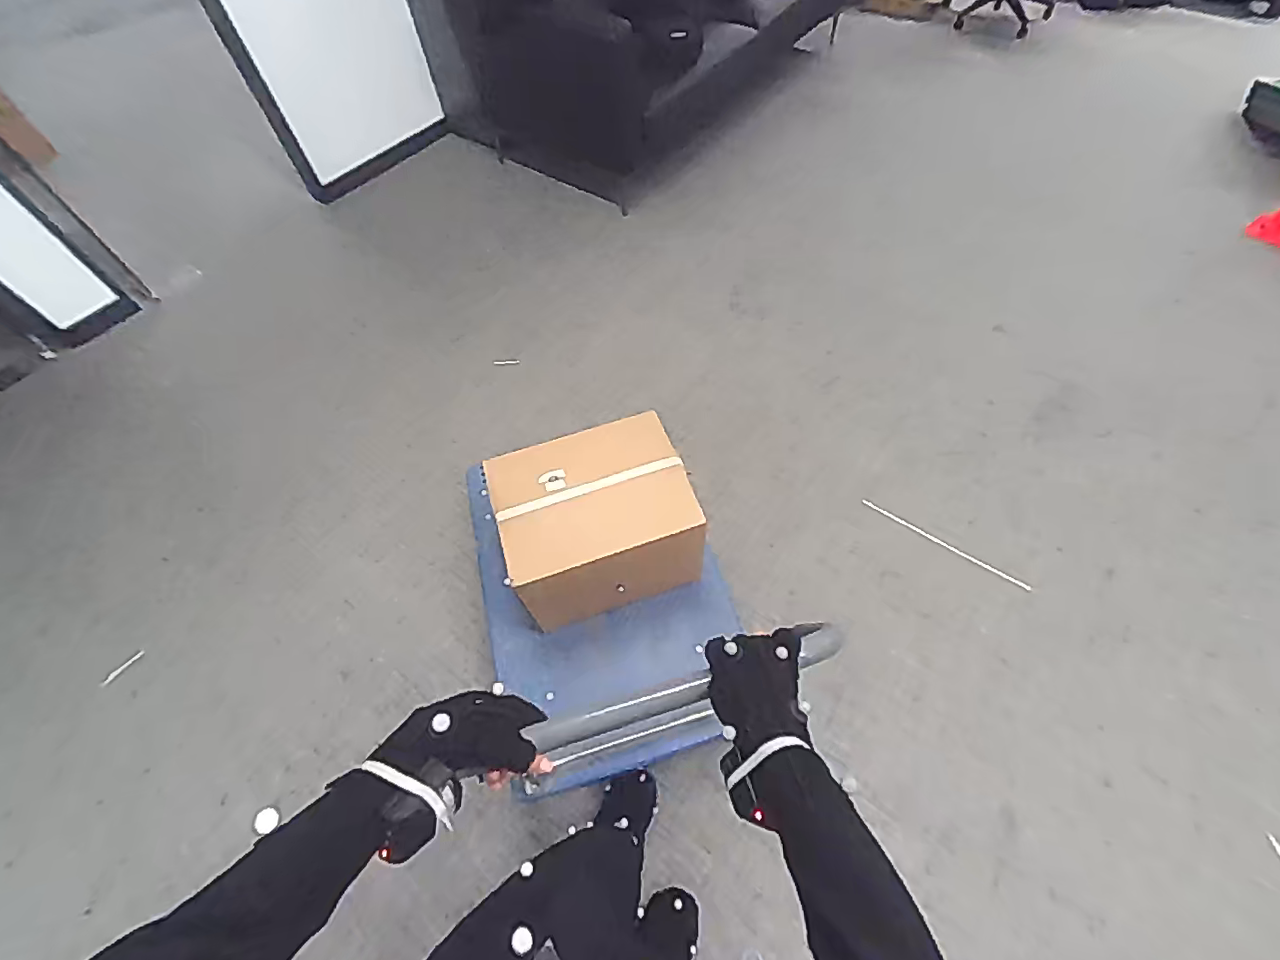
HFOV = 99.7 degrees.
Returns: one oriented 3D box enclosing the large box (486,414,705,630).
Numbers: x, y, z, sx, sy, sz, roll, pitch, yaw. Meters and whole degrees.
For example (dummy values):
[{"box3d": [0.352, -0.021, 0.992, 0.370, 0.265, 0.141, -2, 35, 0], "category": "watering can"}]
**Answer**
[{"box3d": [-0.095, 0.107, 1.272, 0.408, 0.320, 0.320, -19, 59, -8], "category": "large box"}]
